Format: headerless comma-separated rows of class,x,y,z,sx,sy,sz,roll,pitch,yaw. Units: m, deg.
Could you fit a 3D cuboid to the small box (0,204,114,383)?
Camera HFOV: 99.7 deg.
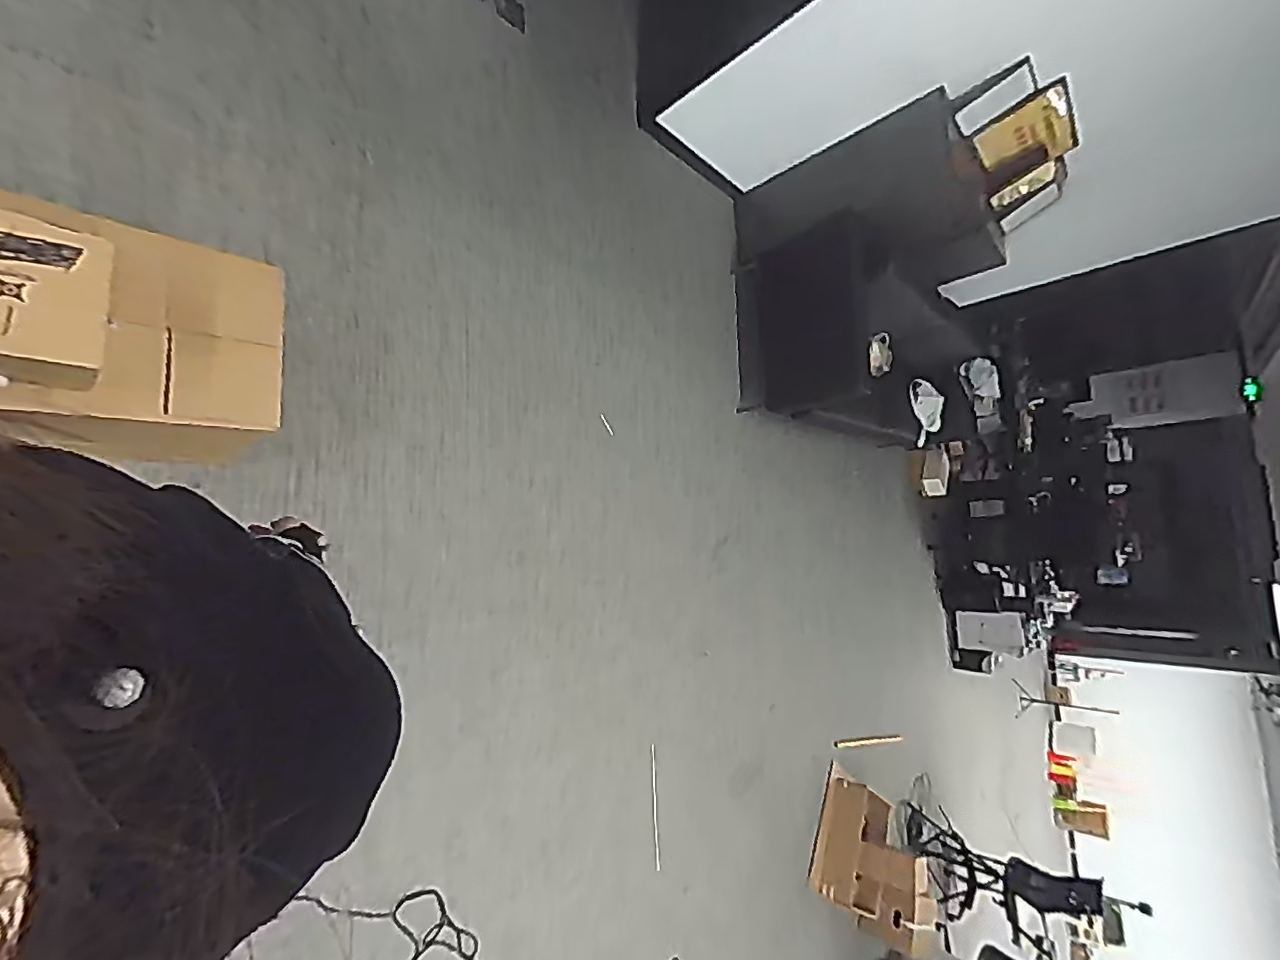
small box,-0.811,-0.237,0.698,0.168,0.176,0.179,6,83,-48
